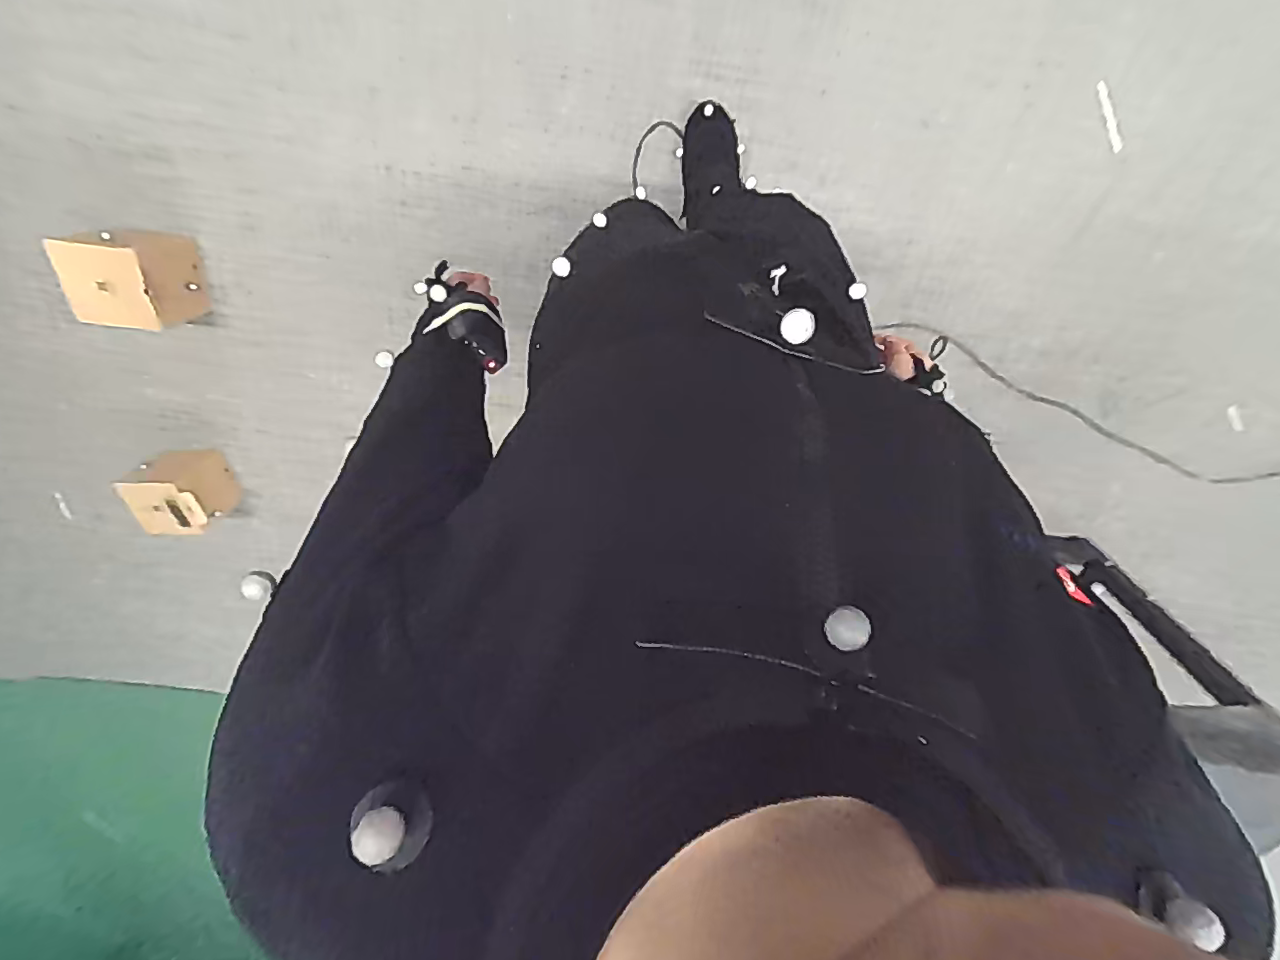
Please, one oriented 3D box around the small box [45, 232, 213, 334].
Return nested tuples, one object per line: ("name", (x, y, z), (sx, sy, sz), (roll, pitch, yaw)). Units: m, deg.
("small box", (-1.081, -0.429, 1.162), (0.179, 0.176, 0.168), (6, 122, -3))
